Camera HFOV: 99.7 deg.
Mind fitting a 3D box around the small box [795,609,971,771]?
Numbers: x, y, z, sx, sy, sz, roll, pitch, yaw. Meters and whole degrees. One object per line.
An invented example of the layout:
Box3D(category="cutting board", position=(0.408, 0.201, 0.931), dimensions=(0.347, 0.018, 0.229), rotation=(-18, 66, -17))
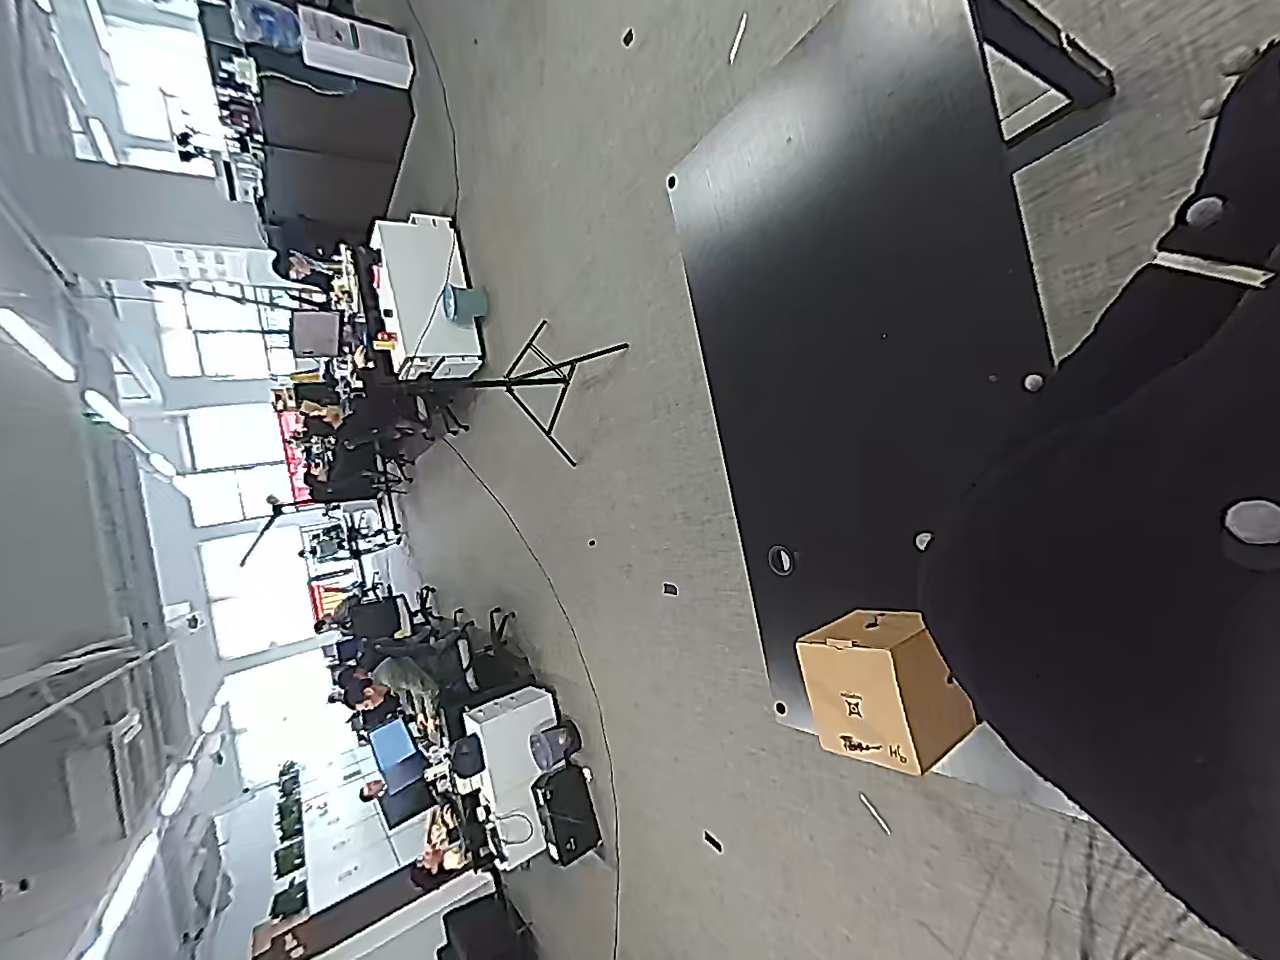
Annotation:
Box3D(category="small box", position=(0.373, 0.304, 0.833), dimensions=(0.168, 0.176, 0.179), rotation=(-17, 84, 56))
